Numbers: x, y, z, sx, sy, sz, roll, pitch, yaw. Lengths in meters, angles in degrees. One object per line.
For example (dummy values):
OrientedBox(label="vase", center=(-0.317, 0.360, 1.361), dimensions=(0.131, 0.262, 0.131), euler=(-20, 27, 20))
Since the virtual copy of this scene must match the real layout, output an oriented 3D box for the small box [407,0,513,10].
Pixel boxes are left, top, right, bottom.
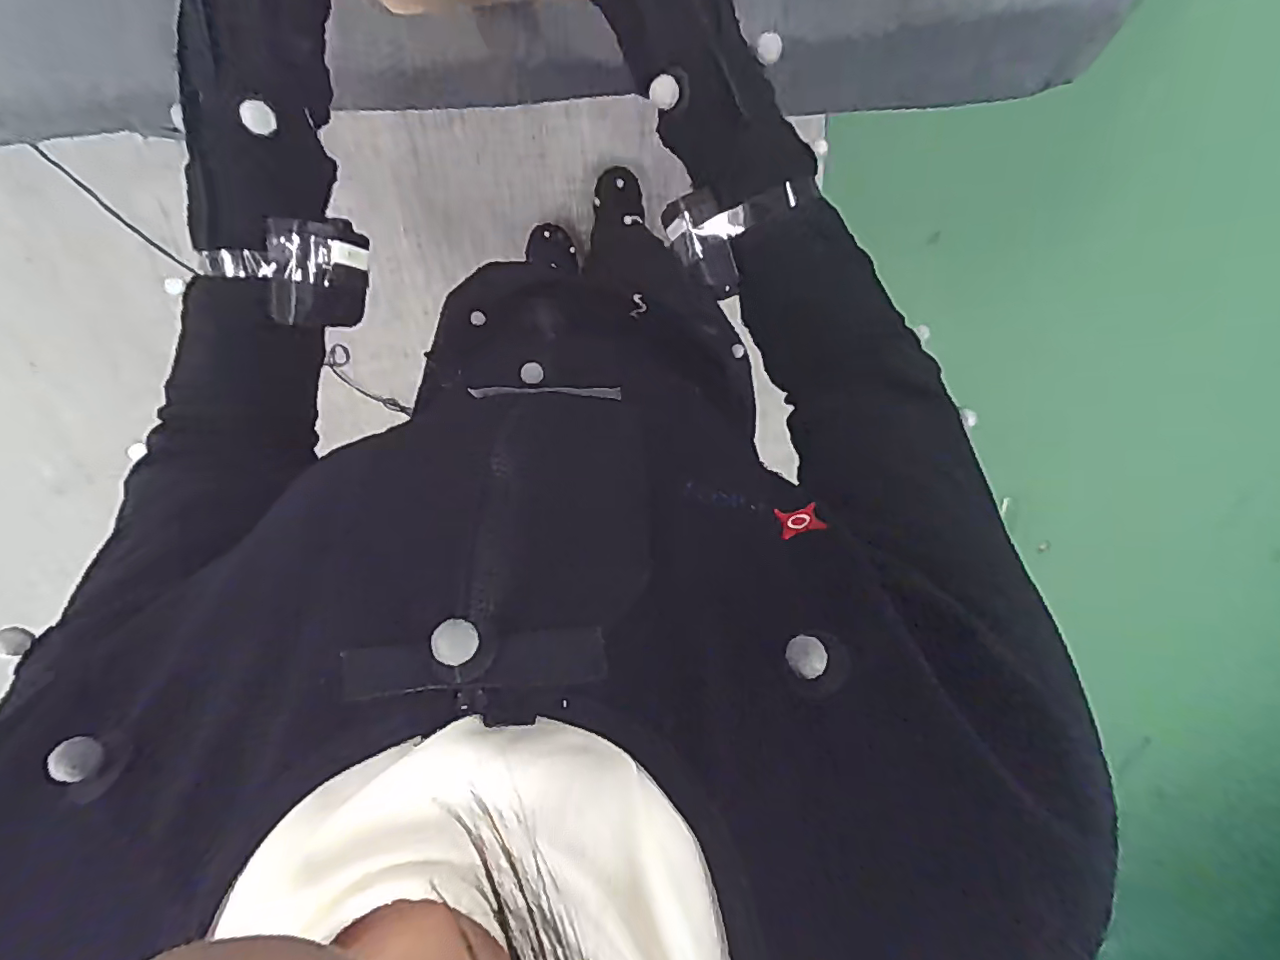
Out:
OrientedBox(label="small box", center=(-0.111, -0.417, 0.316), dimensions=(0.168, 0.176, 0.179), euler=(-8, 119, -2))
